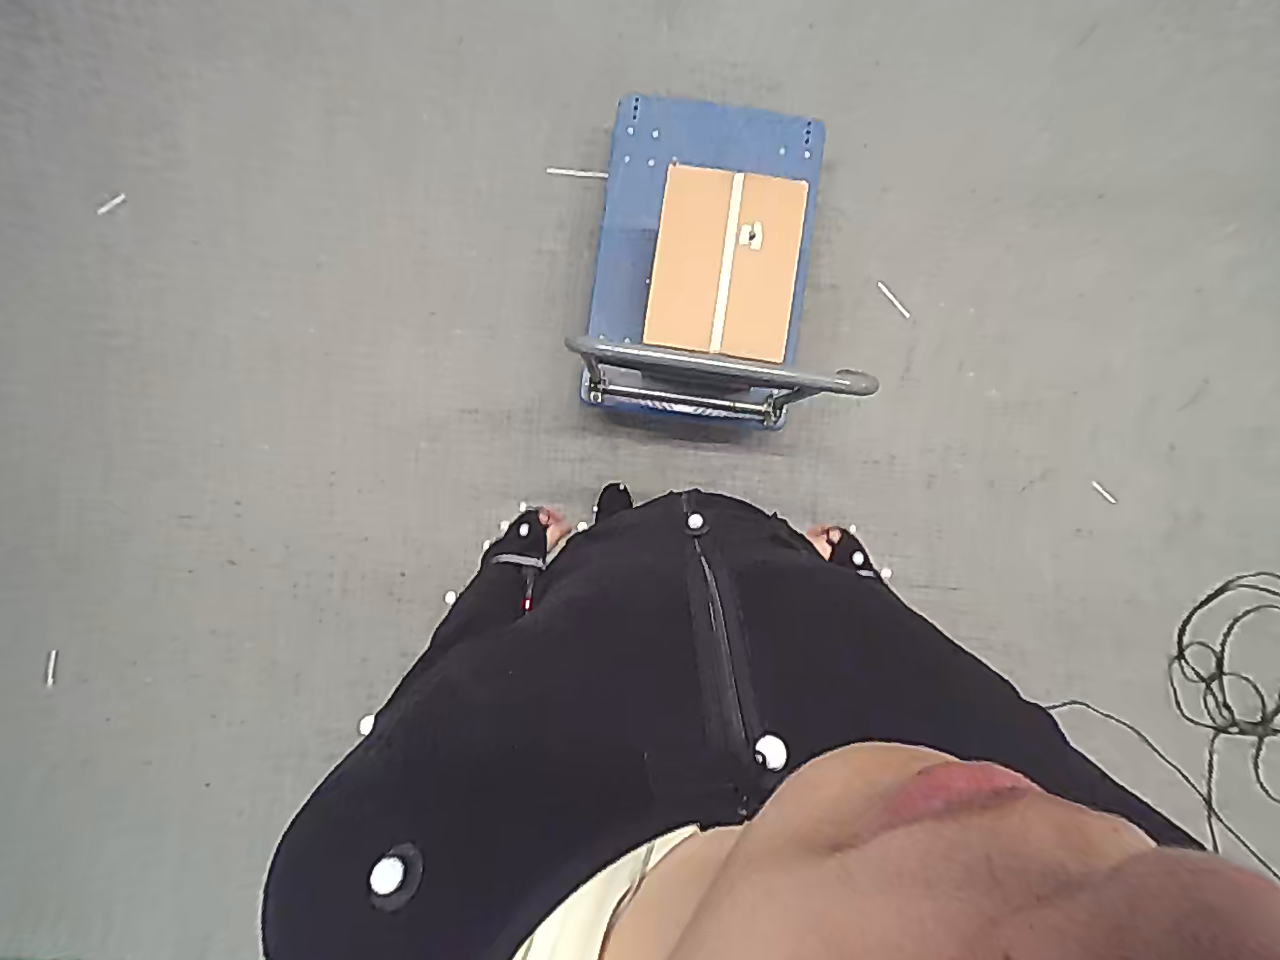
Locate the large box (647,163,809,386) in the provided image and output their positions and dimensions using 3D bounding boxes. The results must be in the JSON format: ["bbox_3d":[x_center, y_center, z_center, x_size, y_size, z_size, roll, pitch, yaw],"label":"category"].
[{"bbox_3d":[0.191,-0.468,1.314,0.320,0.320,0.408,8,88,-1],"label":"large box"}]
